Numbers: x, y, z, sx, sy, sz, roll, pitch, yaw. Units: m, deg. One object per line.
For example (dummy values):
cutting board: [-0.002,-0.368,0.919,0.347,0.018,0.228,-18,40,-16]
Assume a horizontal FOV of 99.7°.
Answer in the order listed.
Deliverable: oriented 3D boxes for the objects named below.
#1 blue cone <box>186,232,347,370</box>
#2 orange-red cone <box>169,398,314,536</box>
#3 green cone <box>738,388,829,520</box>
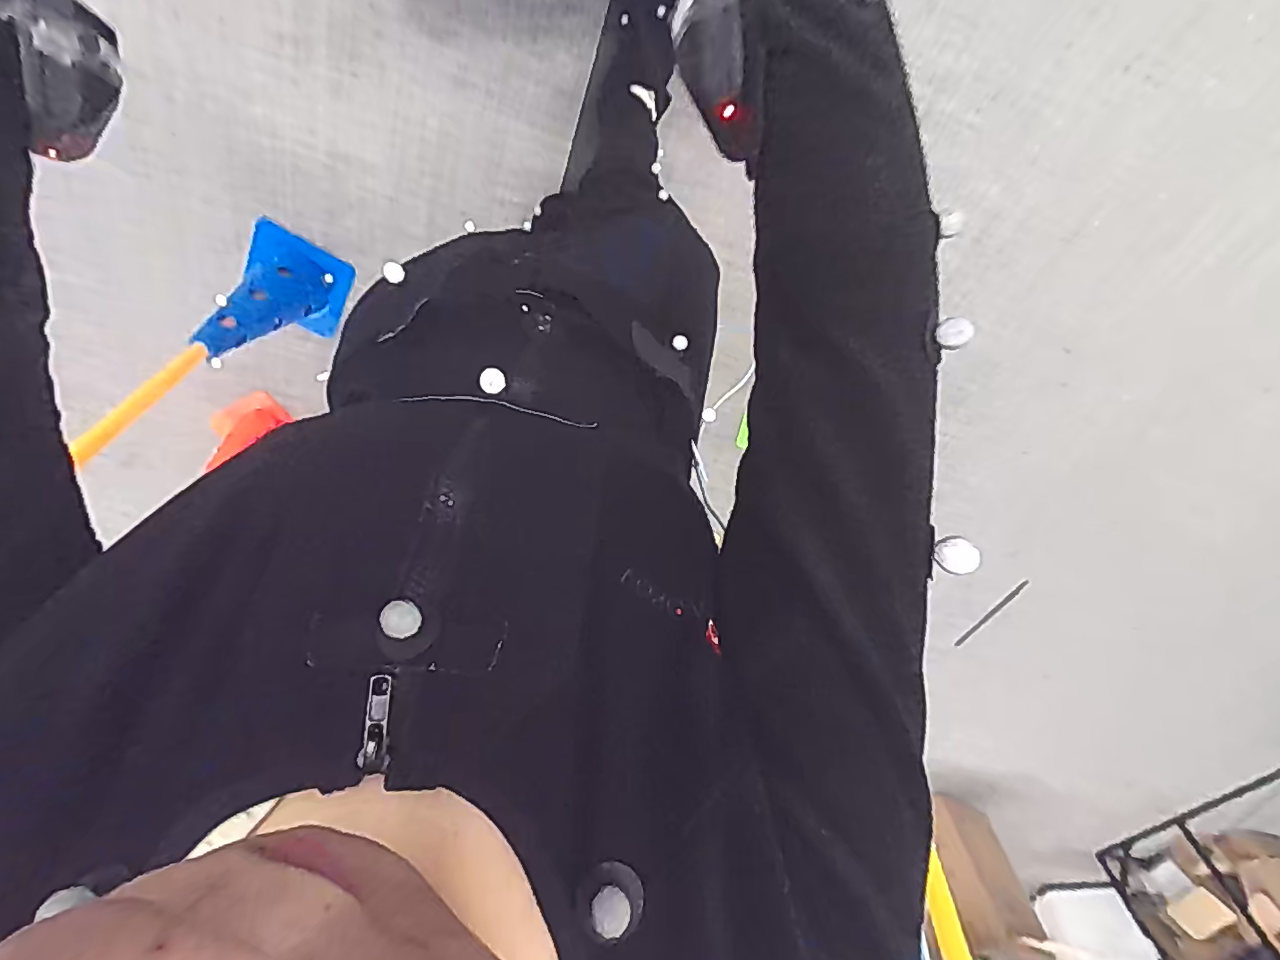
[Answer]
blue cone: [-0.746,-0.322,1.049,0.193,0.380,0.192,28,122,-22]
orange-red cone: [-0.971,-0.004,1.263,0.199,0.360,0.198,-22,126,12]
green cone: [0.377,-0.043,1.291,0.200,0.368,0.202,4,128,-5]
